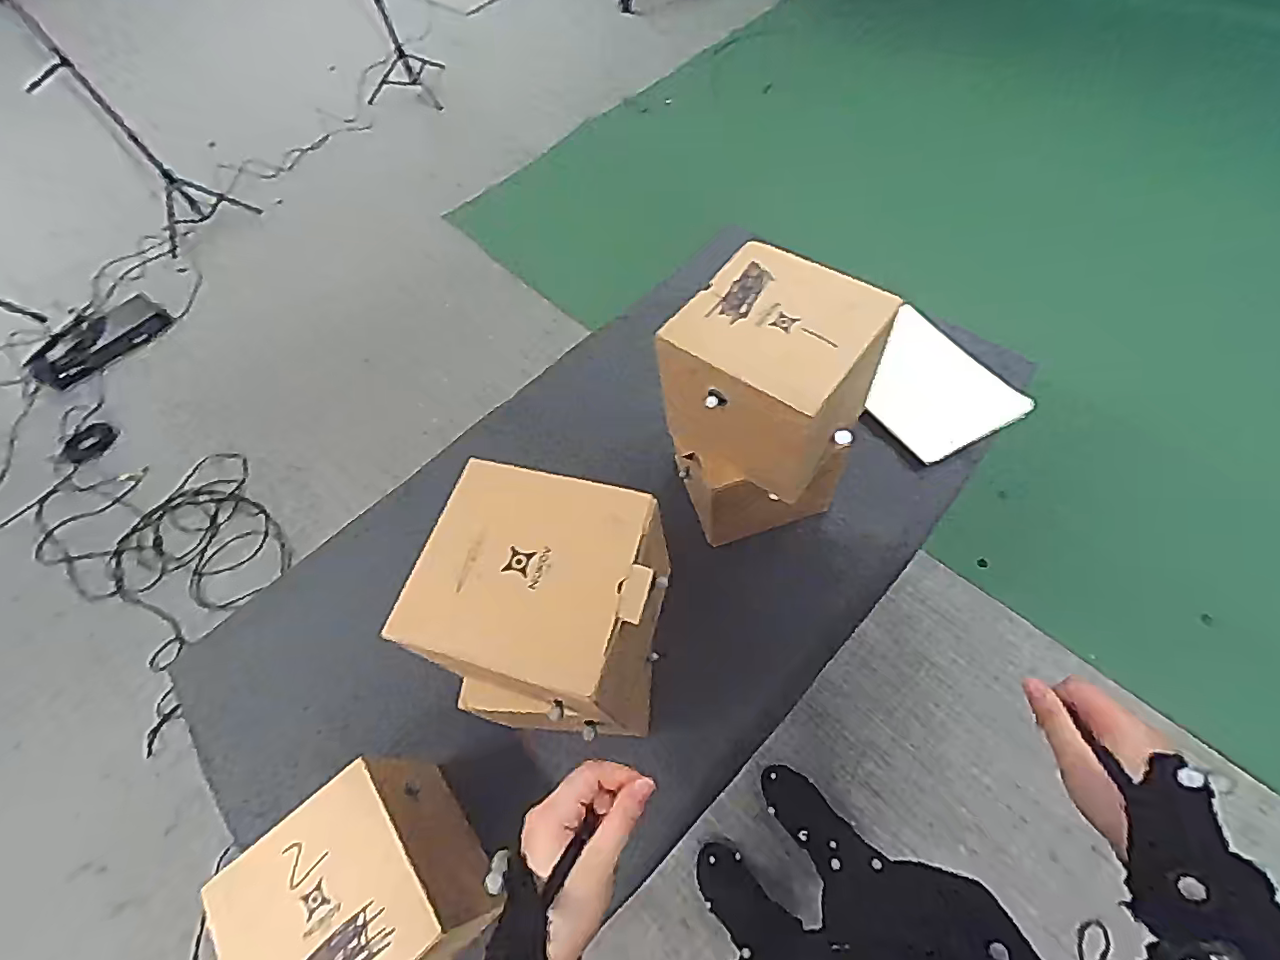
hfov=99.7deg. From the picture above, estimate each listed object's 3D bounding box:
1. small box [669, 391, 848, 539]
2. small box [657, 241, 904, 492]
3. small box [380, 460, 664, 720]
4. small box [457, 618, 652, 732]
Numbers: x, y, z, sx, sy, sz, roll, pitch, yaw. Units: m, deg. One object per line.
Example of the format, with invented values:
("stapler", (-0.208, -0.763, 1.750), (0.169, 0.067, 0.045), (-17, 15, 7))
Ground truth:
("small box", (0.148, -0.042, 0.731), (0.179, 0.176, 0.168), (-18, 60, -2))
("small box", (0.141, -0.115, 0.583), (0.179, 0.176, 0.168), (34, 71, 23))
("small box", (-0.083, 0.107, 0.491), (0.179, 0.176, 0.168), (11, 62, 14))
("small box", (-0.081, 0.193, 0.630), (0.179, 0.176, 0.168), (0, 60, 8))
